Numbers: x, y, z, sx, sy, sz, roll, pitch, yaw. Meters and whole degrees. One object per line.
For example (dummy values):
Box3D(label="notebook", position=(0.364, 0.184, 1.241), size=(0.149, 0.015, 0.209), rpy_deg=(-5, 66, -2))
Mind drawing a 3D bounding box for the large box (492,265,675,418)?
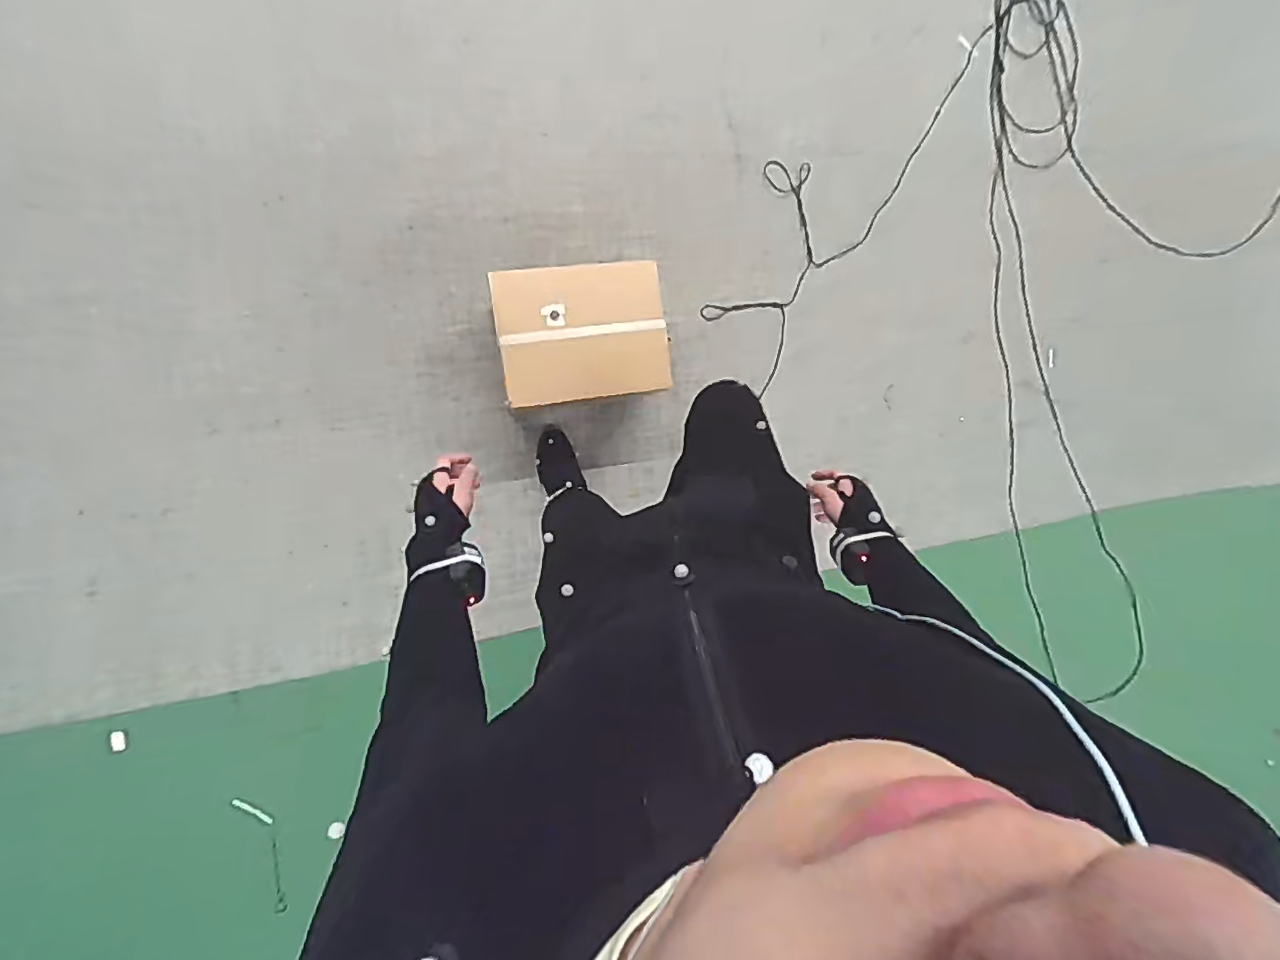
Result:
Box3D(label="large box", position=(-0.156, -0.351, 1.439), size=(0.408, 0.320, 0.320), rpy_deg=(-10, 95, -12))
